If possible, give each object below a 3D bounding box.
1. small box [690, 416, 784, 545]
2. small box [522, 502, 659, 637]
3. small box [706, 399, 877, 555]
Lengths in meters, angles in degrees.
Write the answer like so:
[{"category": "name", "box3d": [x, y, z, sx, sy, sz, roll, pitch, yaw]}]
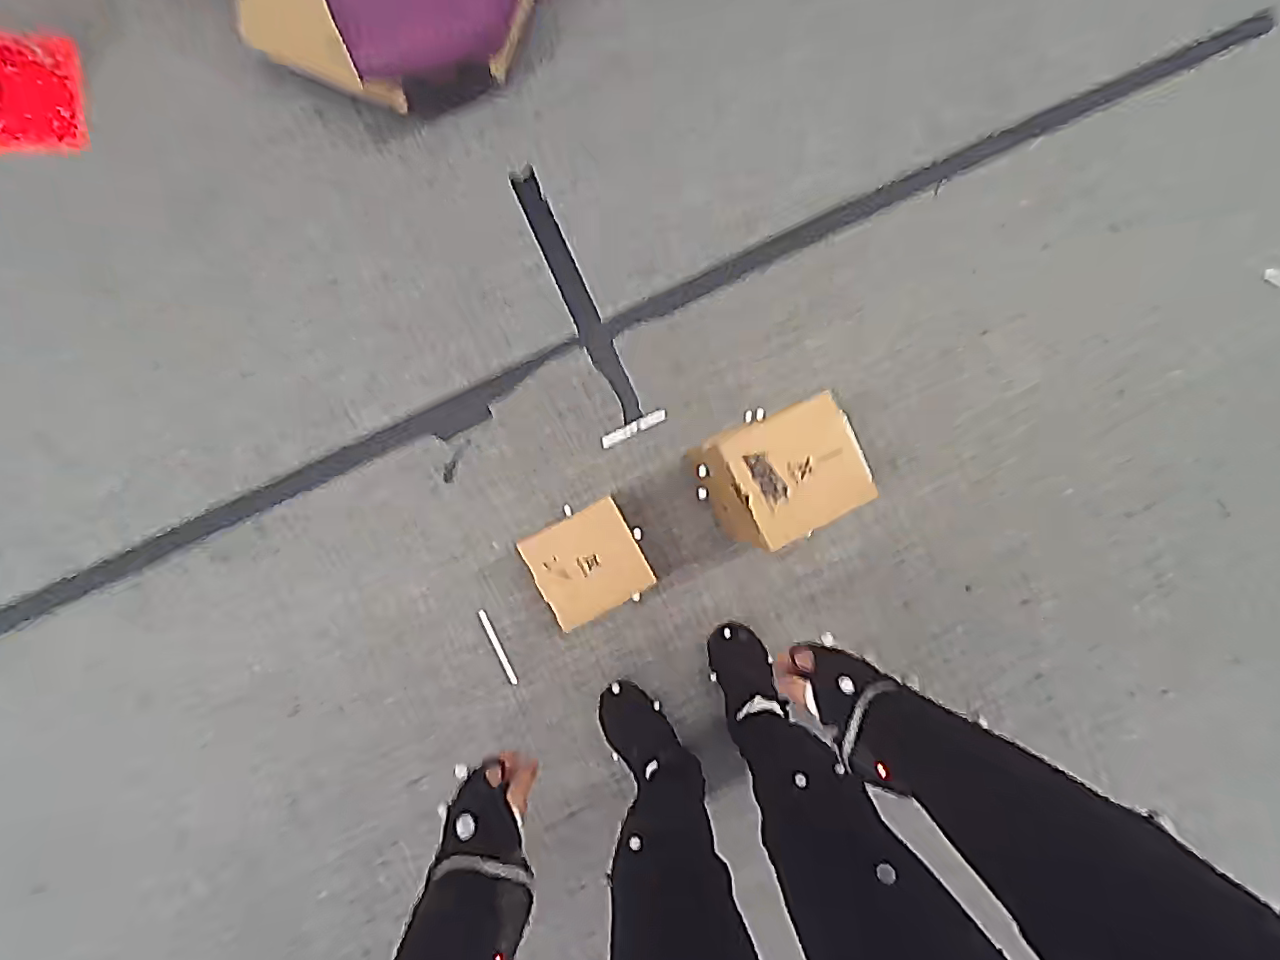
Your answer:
[{"category": "small box", "box3d": [0.206, -0.002, 0.987, 0.168, 0.176, 0.179, -24, 92, -4]}, {"category": "small box", "box3d": [-0.086, 0.147, 0.963, 0.179, 0.176, 0.168, -28, 91, -3]}, {"category": "small box", "box3d": [0.213, -0.002, 0.821, 0.179, 0.176, 0.168, -26, 91, -5]}]
